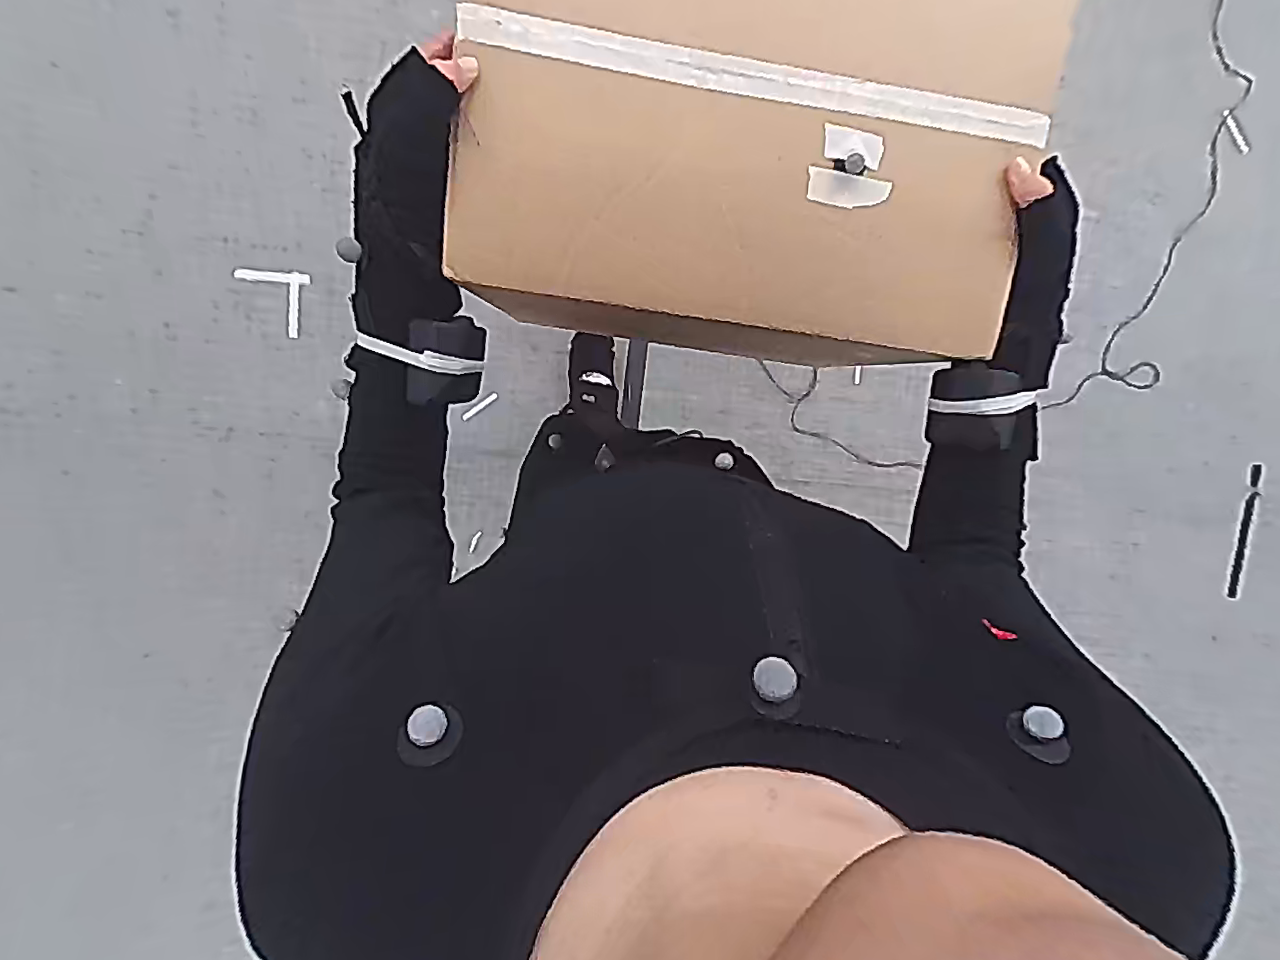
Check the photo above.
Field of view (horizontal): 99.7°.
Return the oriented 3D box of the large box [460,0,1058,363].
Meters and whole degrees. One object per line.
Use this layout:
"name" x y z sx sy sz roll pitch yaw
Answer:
"large box" 0.071 -0.296 0.521 0.408 0.320 0.320 7 101 -6
